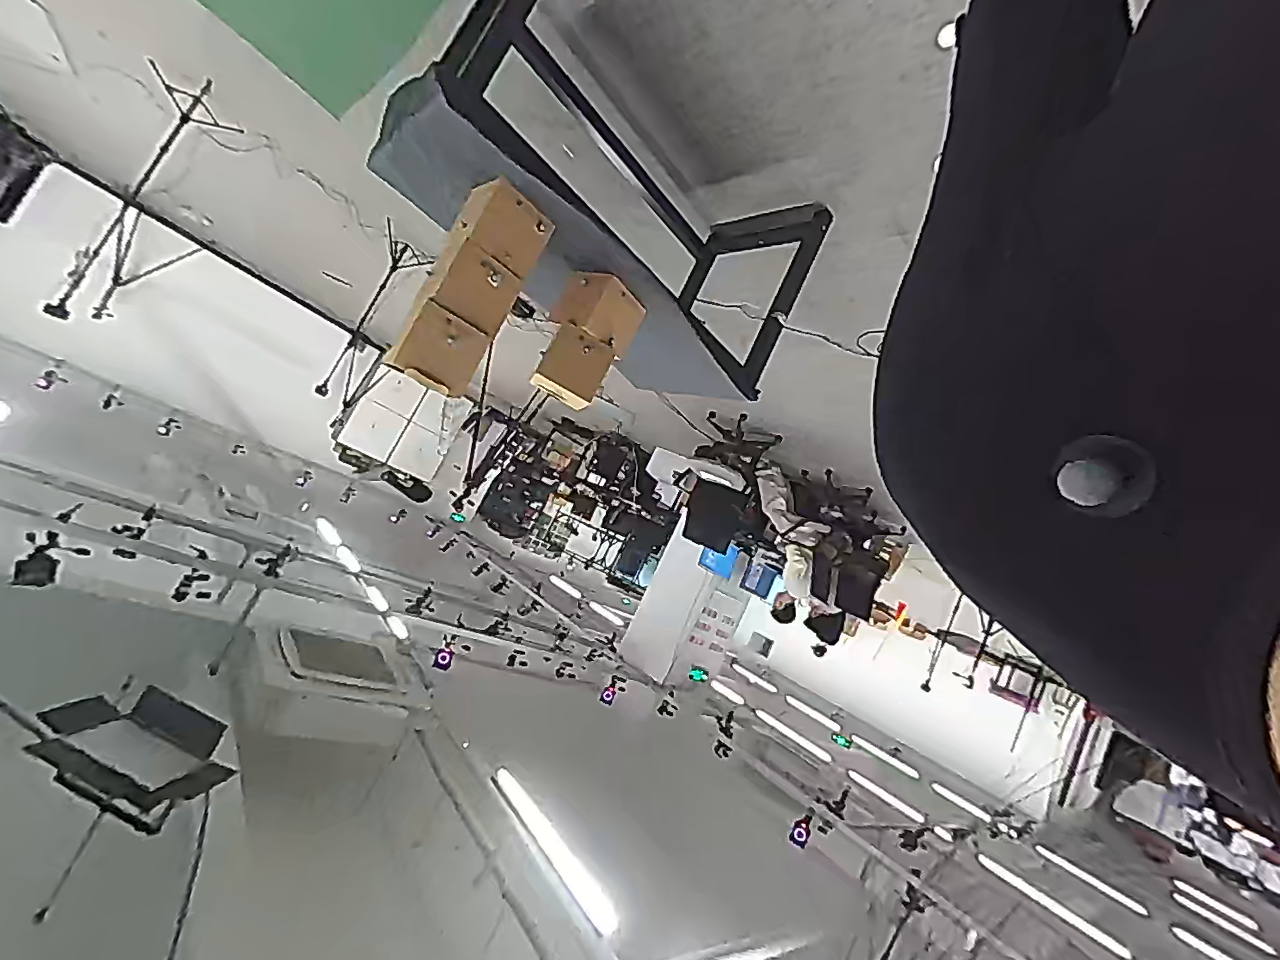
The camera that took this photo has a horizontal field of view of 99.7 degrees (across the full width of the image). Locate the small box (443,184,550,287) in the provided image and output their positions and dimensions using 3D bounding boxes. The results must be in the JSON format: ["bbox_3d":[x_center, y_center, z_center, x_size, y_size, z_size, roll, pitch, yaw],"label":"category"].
[{"bbox_3d":[-0.345,-0.594,1.323,0.168,0.176,0.179,31,174,-41],"label":"small box"}]

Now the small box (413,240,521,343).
[{"bbox_3d":[-0.413,-0.448,1.304,0.168,0.176,0.179,29,173,-38],"label":"small box"}]

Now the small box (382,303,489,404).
[{"bbox_3d":[-0.482,-0.299,1.281,0.168,0.176,0.179,28,175,-34],"label":"small box"}]

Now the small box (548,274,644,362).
[{"bbox_3d":[-0.120,-0.460,1.524,0.179,0.176,0.168,22,172,40],"label":"small box"}]
